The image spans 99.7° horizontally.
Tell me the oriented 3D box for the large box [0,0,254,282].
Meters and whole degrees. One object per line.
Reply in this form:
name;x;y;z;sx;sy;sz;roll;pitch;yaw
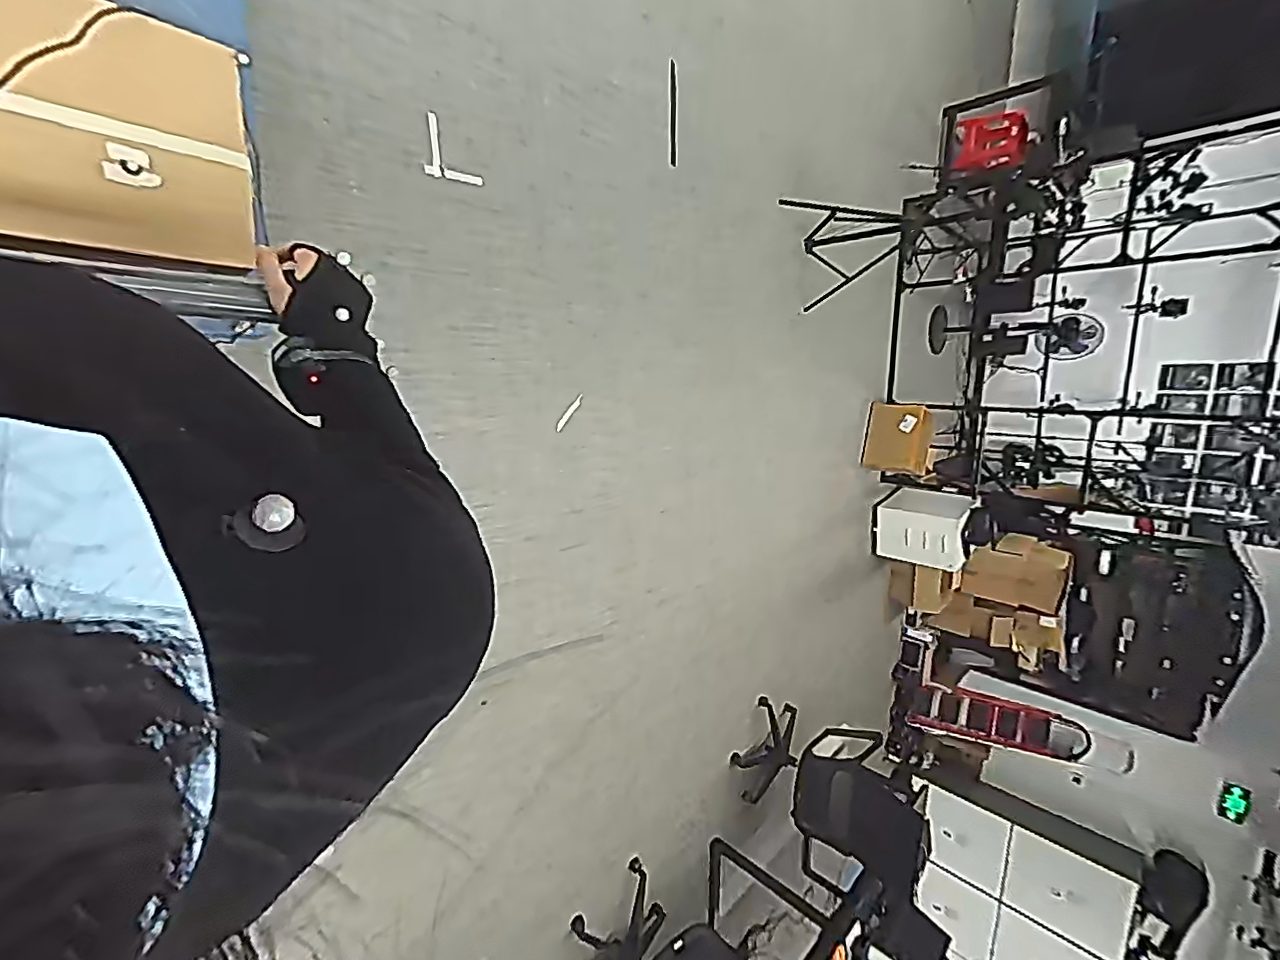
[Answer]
large box;-0.853;-0.491;0.786;0.408;0.320;0.320;-9;105;-46
